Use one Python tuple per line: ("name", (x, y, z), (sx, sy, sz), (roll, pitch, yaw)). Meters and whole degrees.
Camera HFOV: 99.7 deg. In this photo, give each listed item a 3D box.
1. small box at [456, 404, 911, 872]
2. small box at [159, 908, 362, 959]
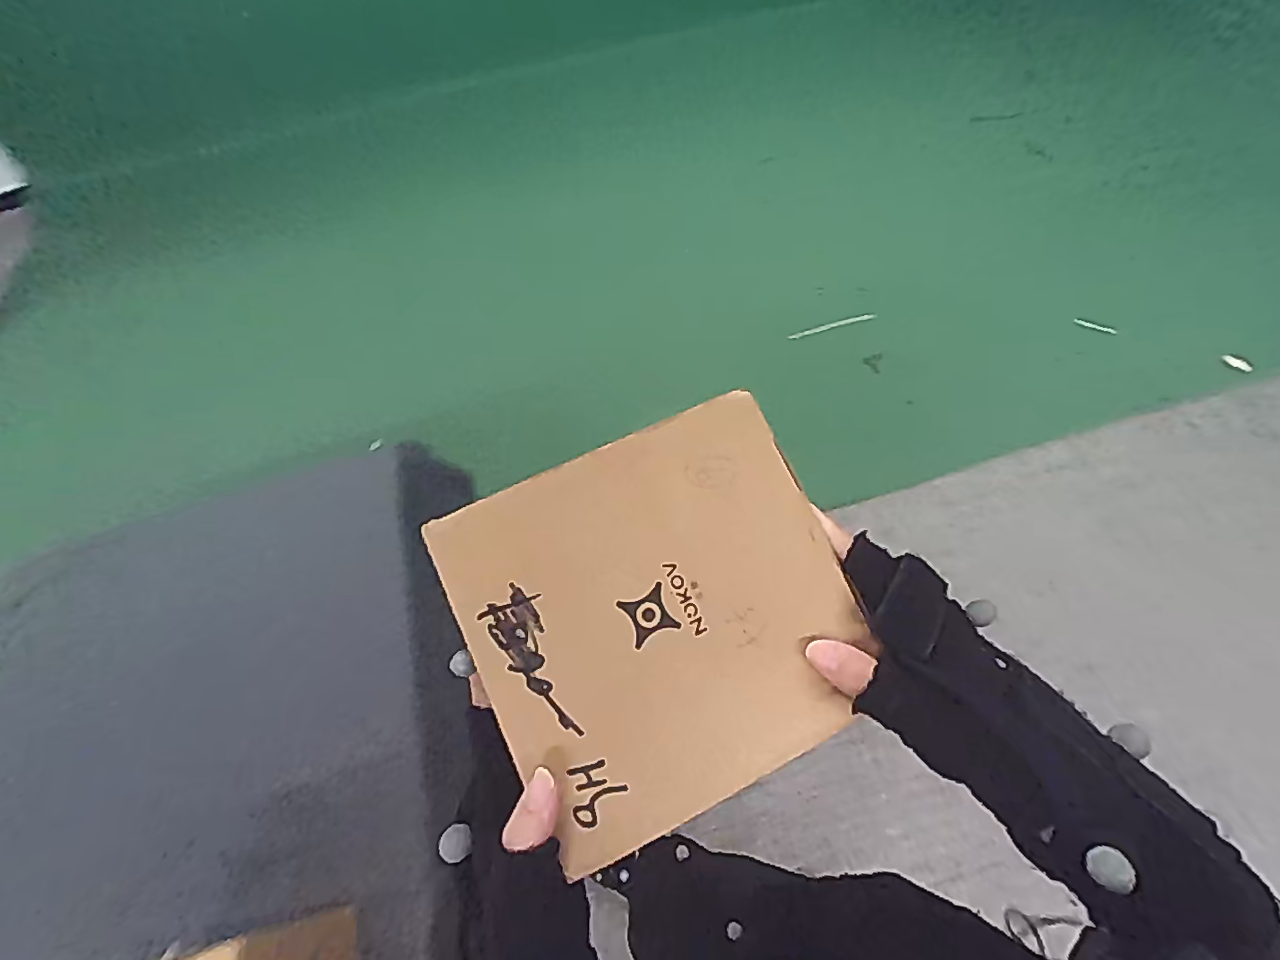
("small box", (0.014, 0.080, 0.333), (0.179, 0.176, 0.168), (-22, 79, -9))
("small box", (-0.351, 0.488, 0.446), (0.168, 0.176, 0.179), (-19, 60, -3))
